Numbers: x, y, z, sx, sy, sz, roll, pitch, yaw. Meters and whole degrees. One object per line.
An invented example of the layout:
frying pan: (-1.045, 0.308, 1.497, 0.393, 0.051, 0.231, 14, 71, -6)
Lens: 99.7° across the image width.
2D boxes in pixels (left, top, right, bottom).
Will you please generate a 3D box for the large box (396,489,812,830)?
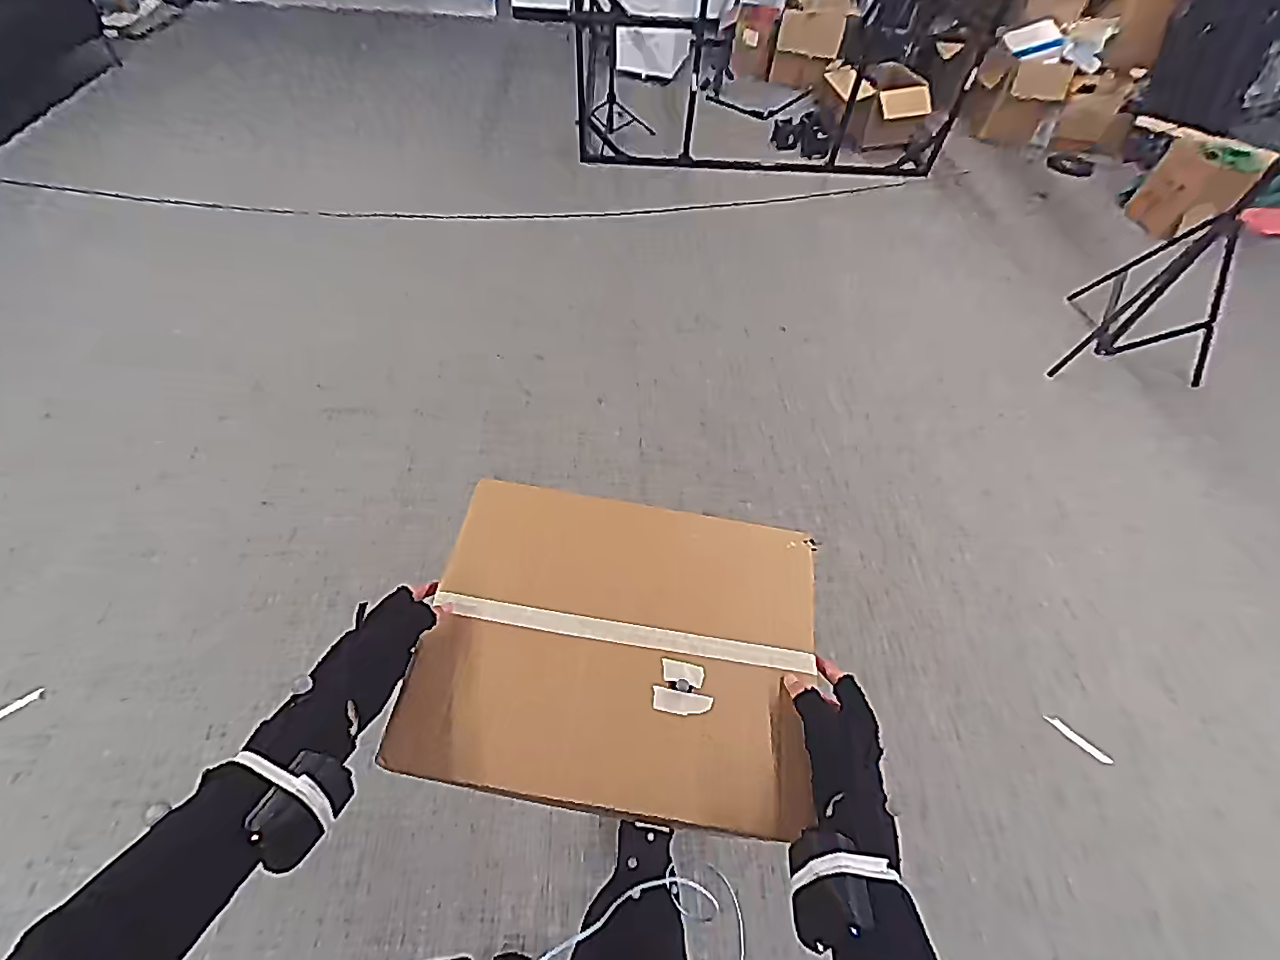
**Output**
large box: (-0.029, 0.247, 0.708, 0.408, 0.320, 0.320, 10, 57, 1)
